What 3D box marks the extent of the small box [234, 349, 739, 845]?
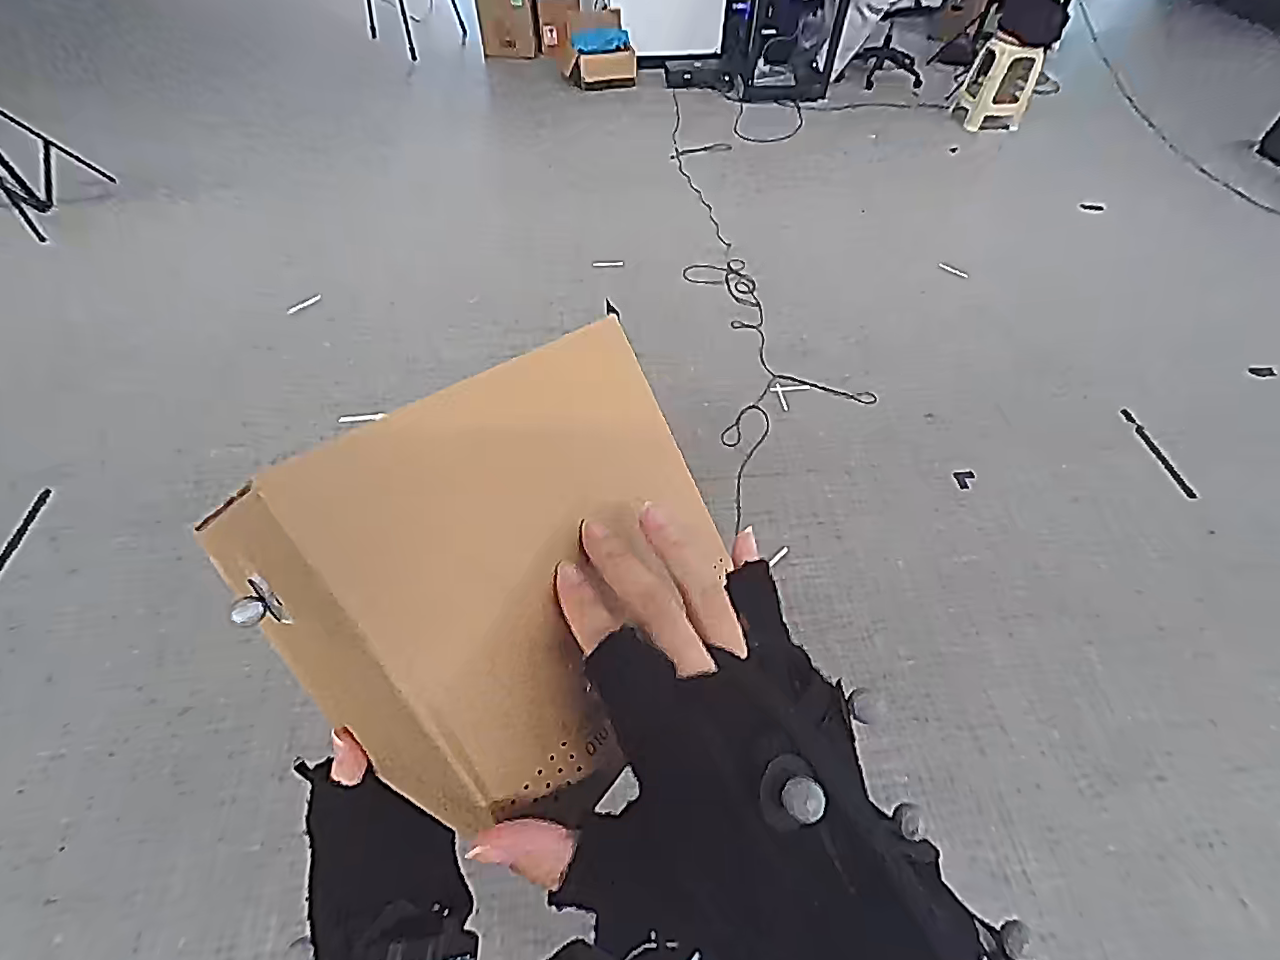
[{"bbox_3d":[-0.078,0.055,0.300,0.179,0.176,0.168,-12,20,45],"label":"small box"}]
